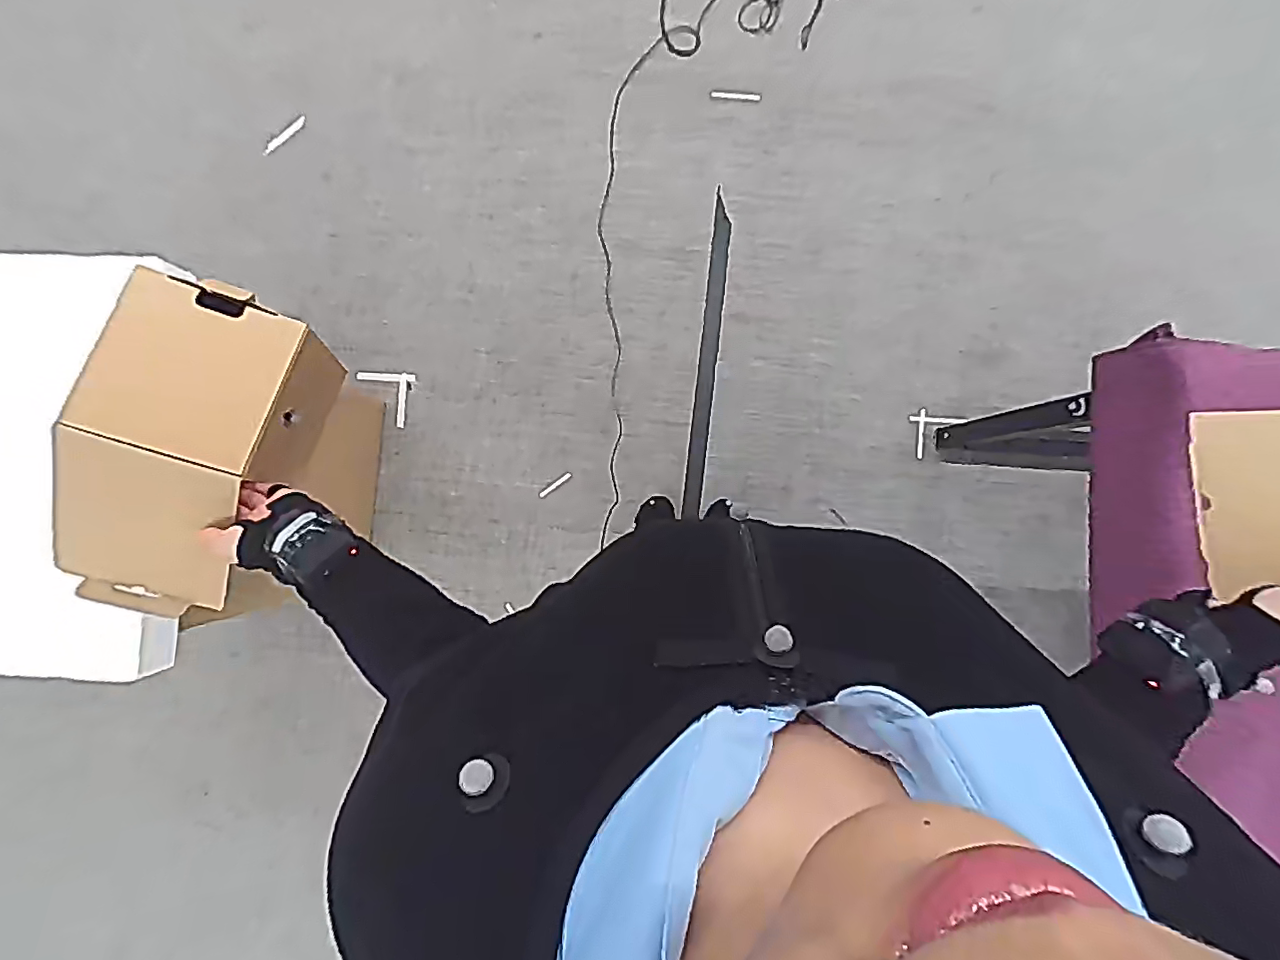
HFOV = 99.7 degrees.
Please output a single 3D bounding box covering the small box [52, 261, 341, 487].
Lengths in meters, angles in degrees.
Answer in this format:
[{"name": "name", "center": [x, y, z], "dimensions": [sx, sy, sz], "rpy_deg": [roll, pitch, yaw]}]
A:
[{"name": "small box", "center": [-0.466, -0.100, 0.607], "dimensions": [0.168, 0.176, 0.179], "rpy_deg": [19, 78, -13]}]
